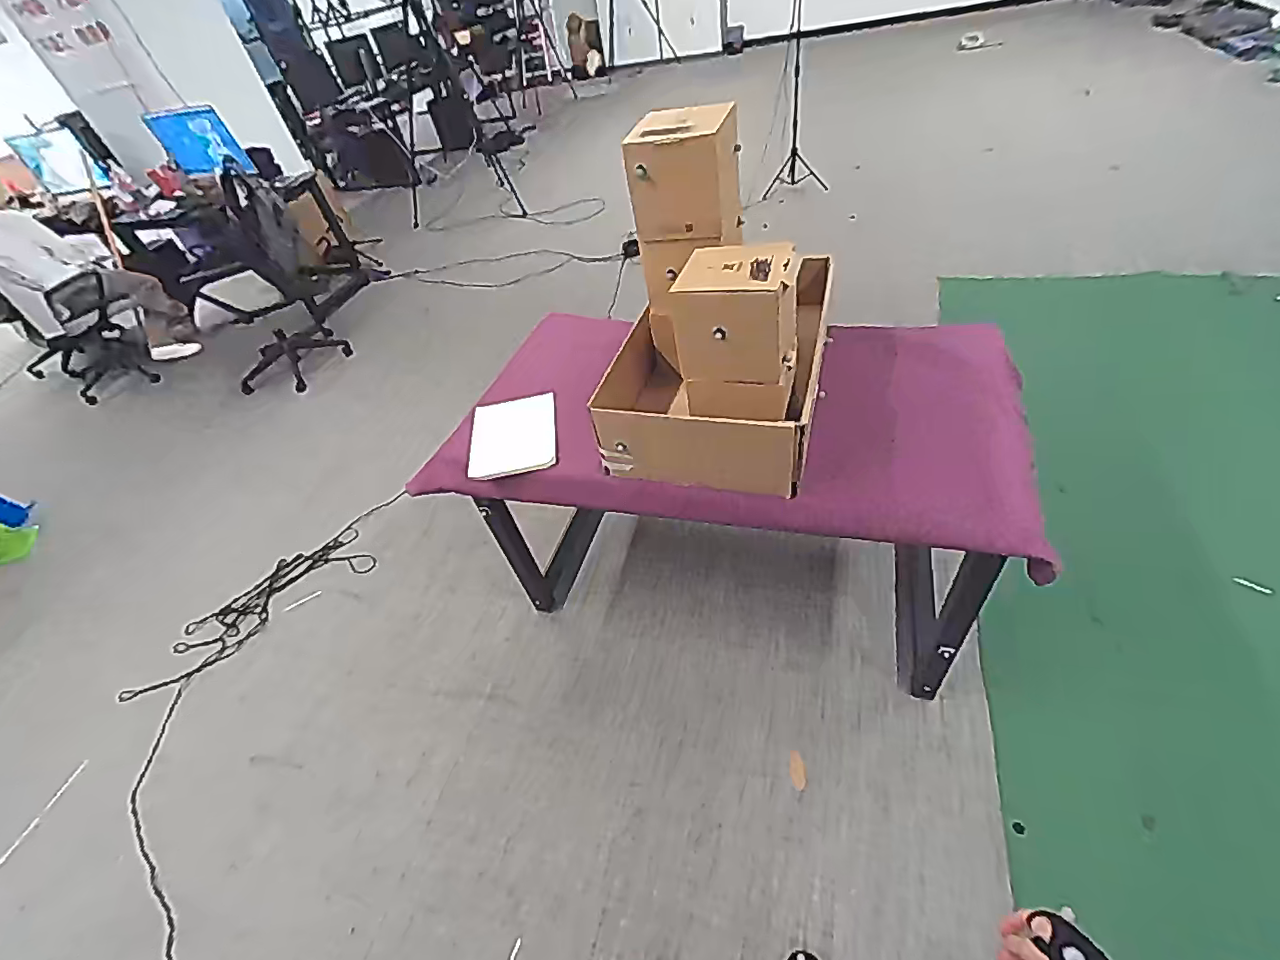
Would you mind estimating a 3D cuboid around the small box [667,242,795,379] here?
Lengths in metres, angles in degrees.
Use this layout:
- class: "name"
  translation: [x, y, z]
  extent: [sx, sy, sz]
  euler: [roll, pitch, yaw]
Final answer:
- class: "small box"
  translation: [0.164, -0.289, 0.930]
  extent: [0.179, 0.176, 0.168]
  euler: [7, 47, 22]

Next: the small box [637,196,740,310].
- class: "small box"
  translation: [0.112, -0.463, 1.123]
  extent: [0.168, 0.176, 0.179]
  euler: [8, 50, 21]
